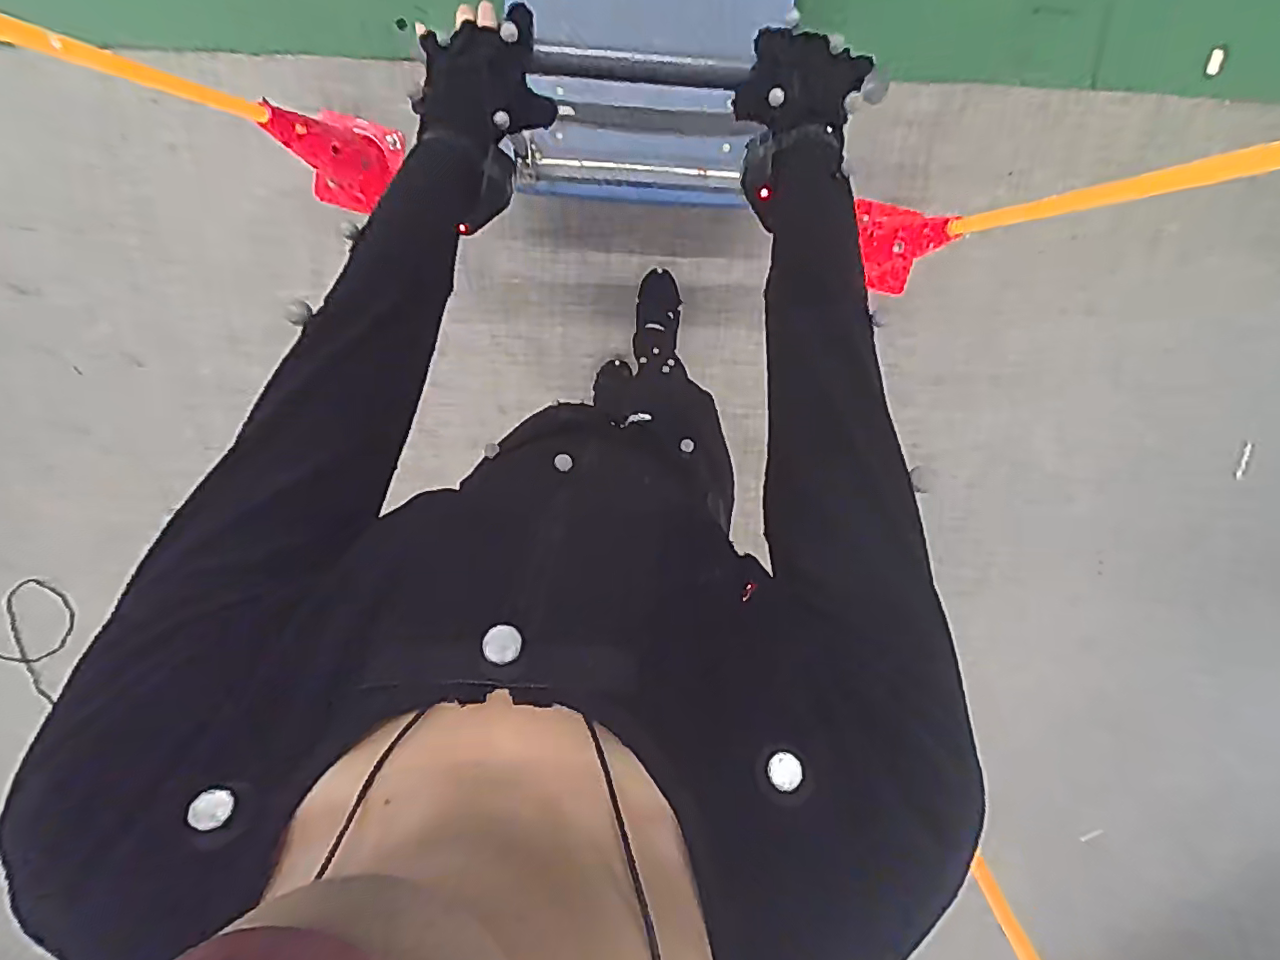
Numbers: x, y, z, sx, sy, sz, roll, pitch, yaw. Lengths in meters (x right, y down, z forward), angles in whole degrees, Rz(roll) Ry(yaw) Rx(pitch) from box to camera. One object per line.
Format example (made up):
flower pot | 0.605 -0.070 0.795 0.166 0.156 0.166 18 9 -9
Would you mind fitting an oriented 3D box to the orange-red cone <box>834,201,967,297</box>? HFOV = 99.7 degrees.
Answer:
orange-red cone | 0.607 -0.528 1.197 0.198 0.360 0.199 12 107 -4
